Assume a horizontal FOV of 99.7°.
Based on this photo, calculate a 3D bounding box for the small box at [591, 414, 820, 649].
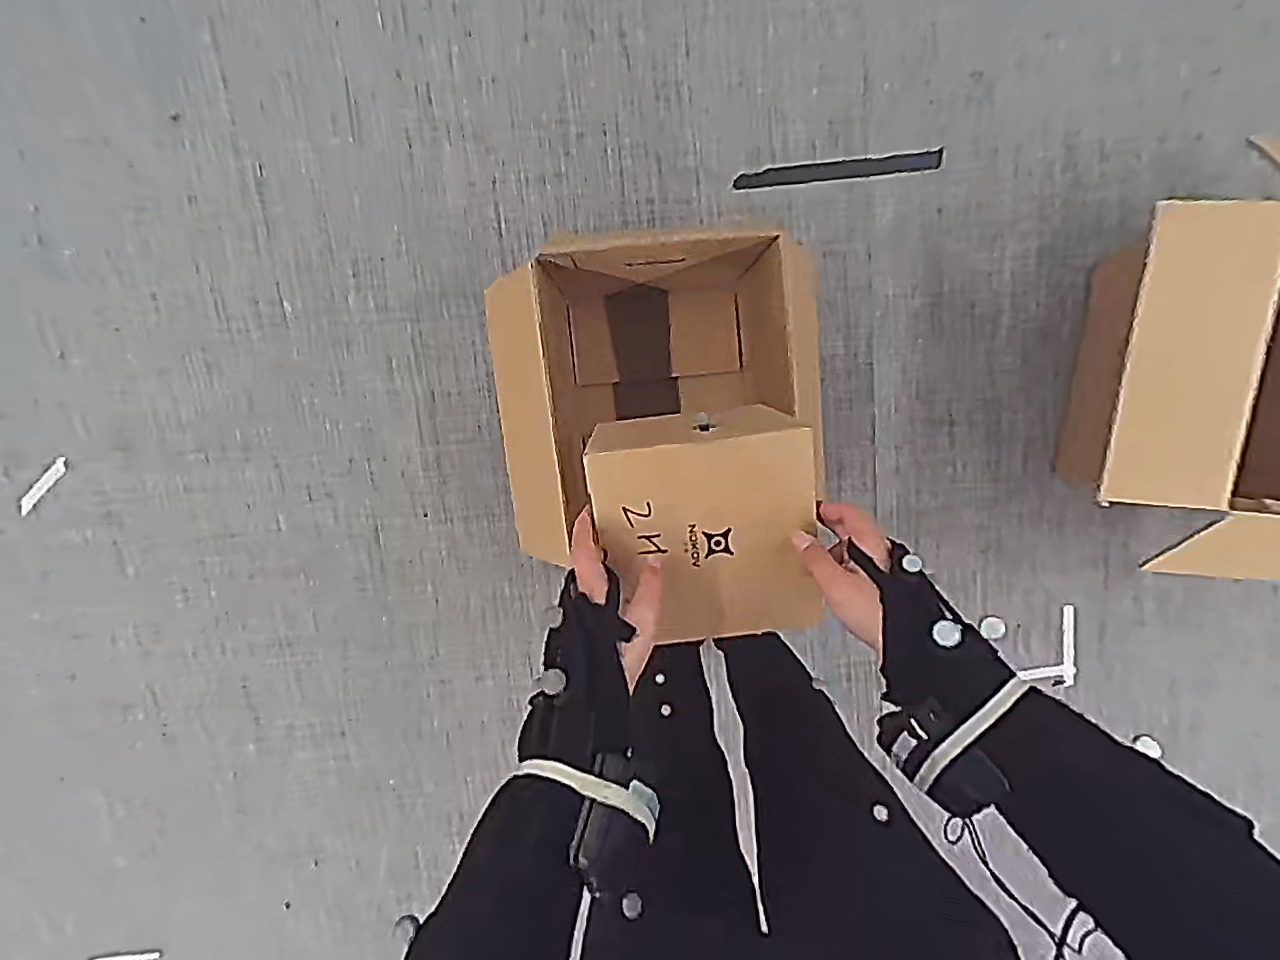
[{"bbox_3d":[0.054,0.035,0.507,0.179,0.176,0.168,-6,103,1],"label":"small box"}]
